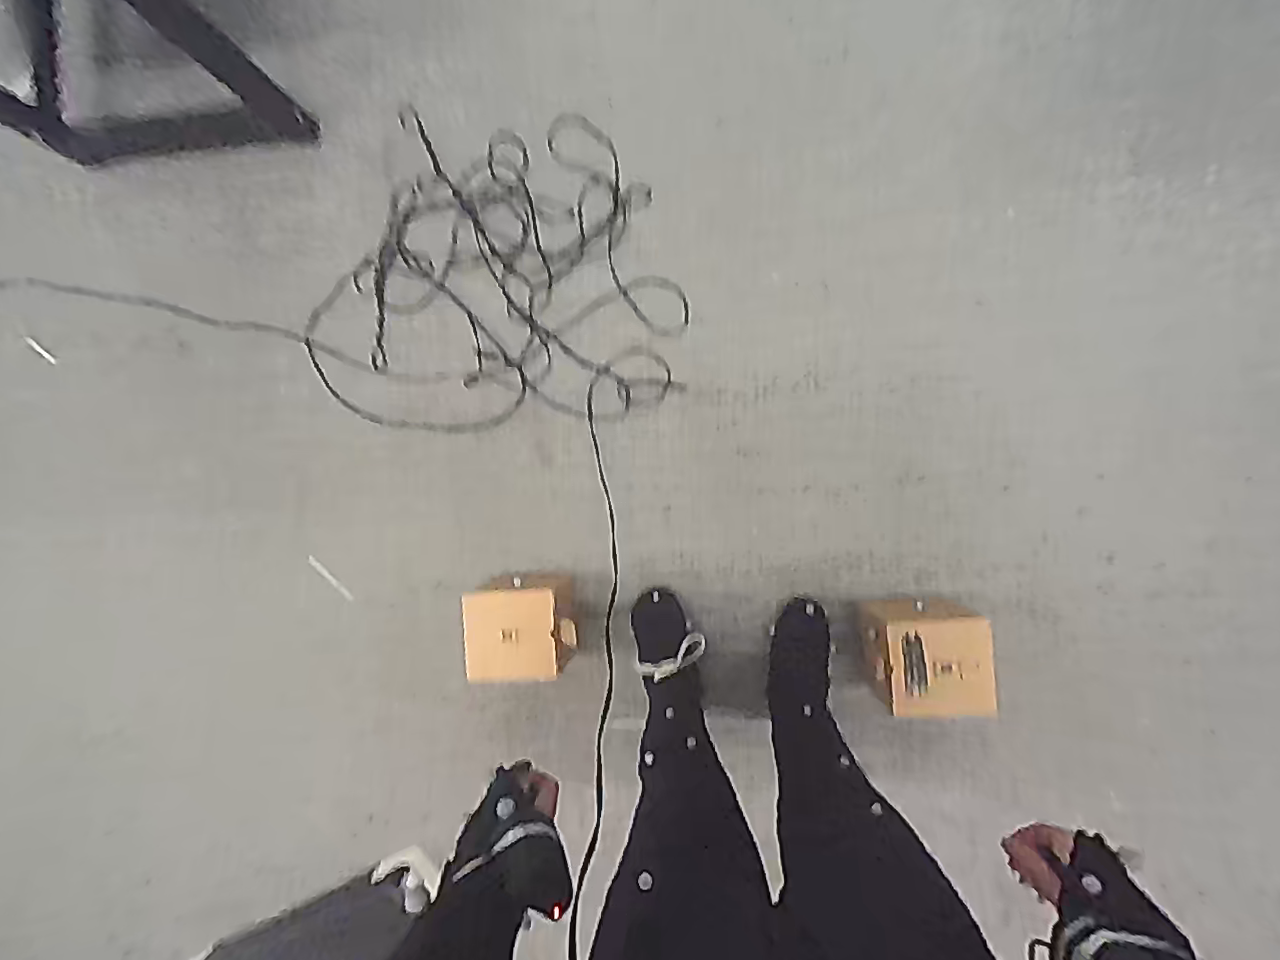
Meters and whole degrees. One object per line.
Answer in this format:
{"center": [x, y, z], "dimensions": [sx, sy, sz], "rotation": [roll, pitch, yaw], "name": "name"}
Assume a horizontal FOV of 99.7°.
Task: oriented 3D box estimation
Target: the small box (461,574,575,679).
{"center": [-0.235, 0.283, 1.070], "dimensions": [0.179, 0.176, 0.168], "rotation": [-4, 90, 5], "name": "small box"}
